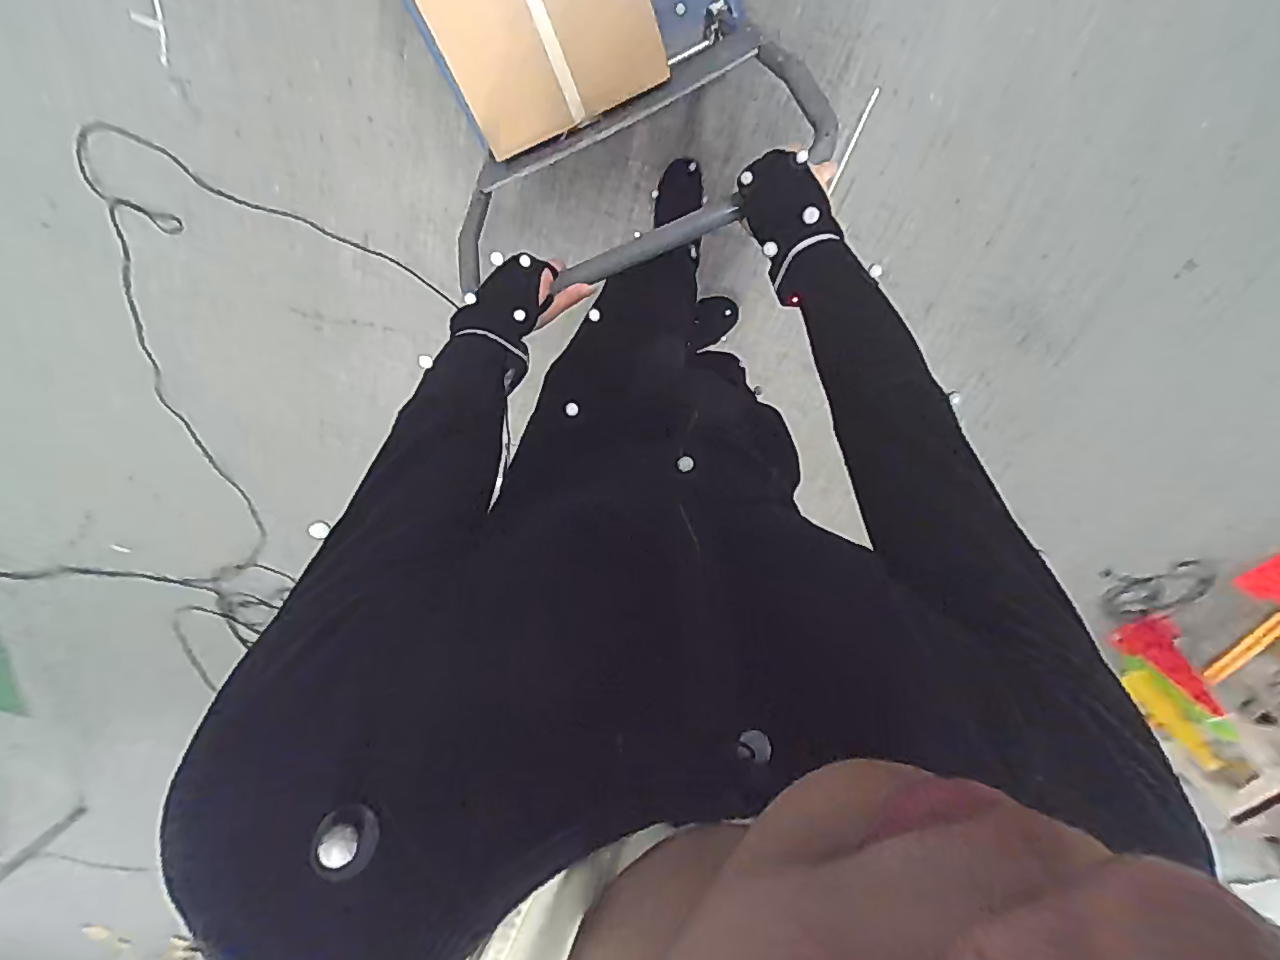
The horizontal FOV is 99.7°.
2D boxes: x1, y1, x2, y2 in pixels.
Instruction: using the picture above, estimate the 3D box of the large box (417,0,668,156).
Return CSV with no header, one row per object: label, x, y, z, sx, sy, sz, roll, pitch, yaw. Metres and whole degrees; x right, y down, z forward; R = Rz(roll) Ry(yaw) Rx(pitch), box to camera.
large box,-0.175,-0.817,0.853,0.320,0.320,0.408,-19,132,12
